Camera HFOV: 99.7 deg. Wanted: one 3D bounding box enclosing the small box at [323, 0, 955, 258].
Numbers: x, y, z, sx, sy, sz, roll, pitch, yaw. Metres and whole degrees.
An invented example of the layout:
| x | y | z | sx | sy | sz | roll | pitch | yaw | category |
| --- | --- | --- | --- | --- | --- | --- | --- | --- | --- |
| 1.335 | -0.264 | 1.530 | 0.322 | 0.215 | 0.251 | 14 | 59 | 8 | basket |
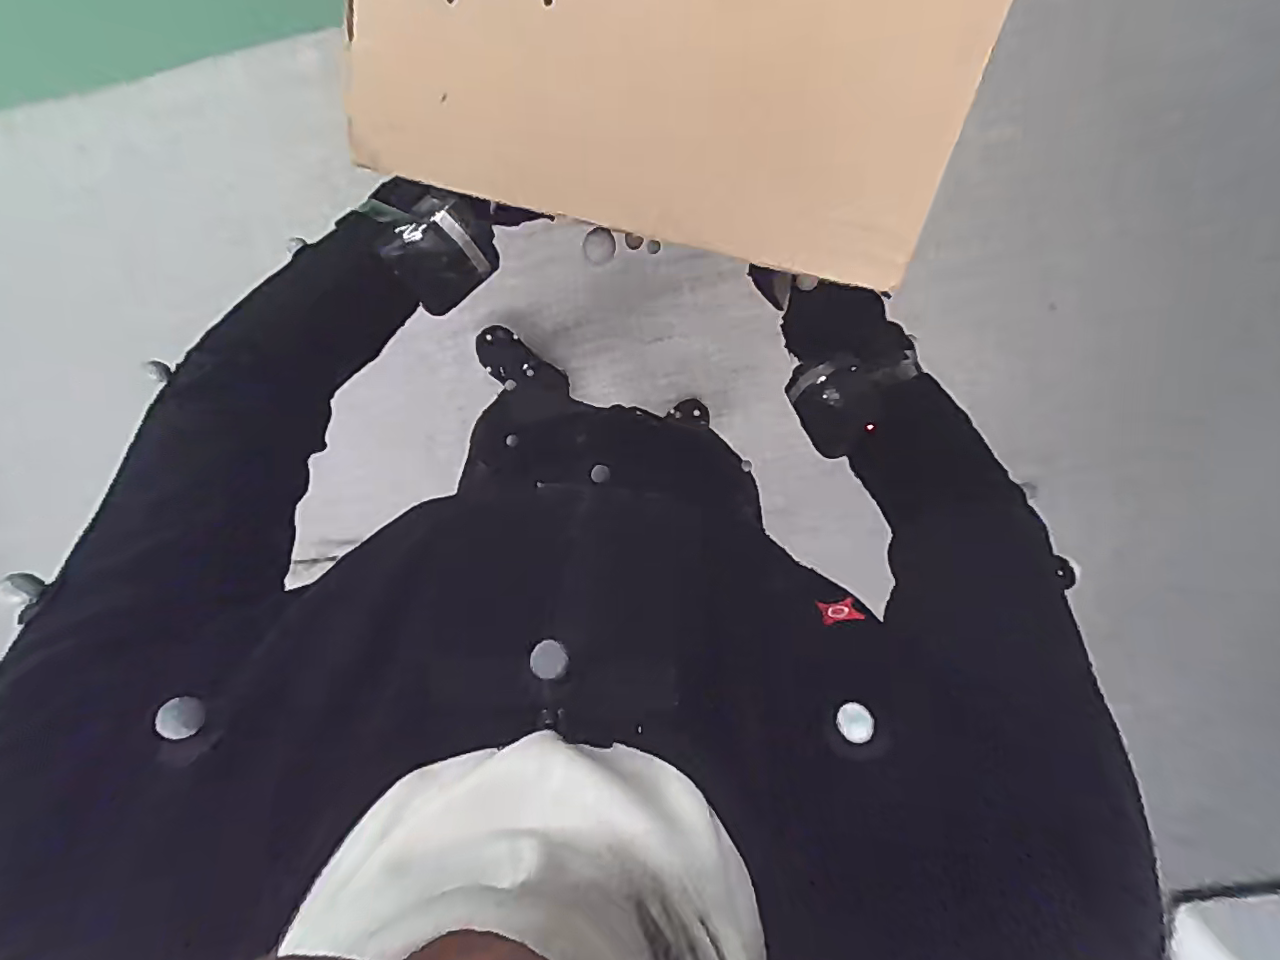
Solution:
| x | y | z | sx | sy | sz | roll | pitch | yaw | category |
| --- | --- | --- | --- | --- | --- | --- | --- | --- | --- |
| 0.008 | -0.191 | 0.212 | 0.179 | 0.176 | 0.168 | 11 | 114 | -2 | small box |
